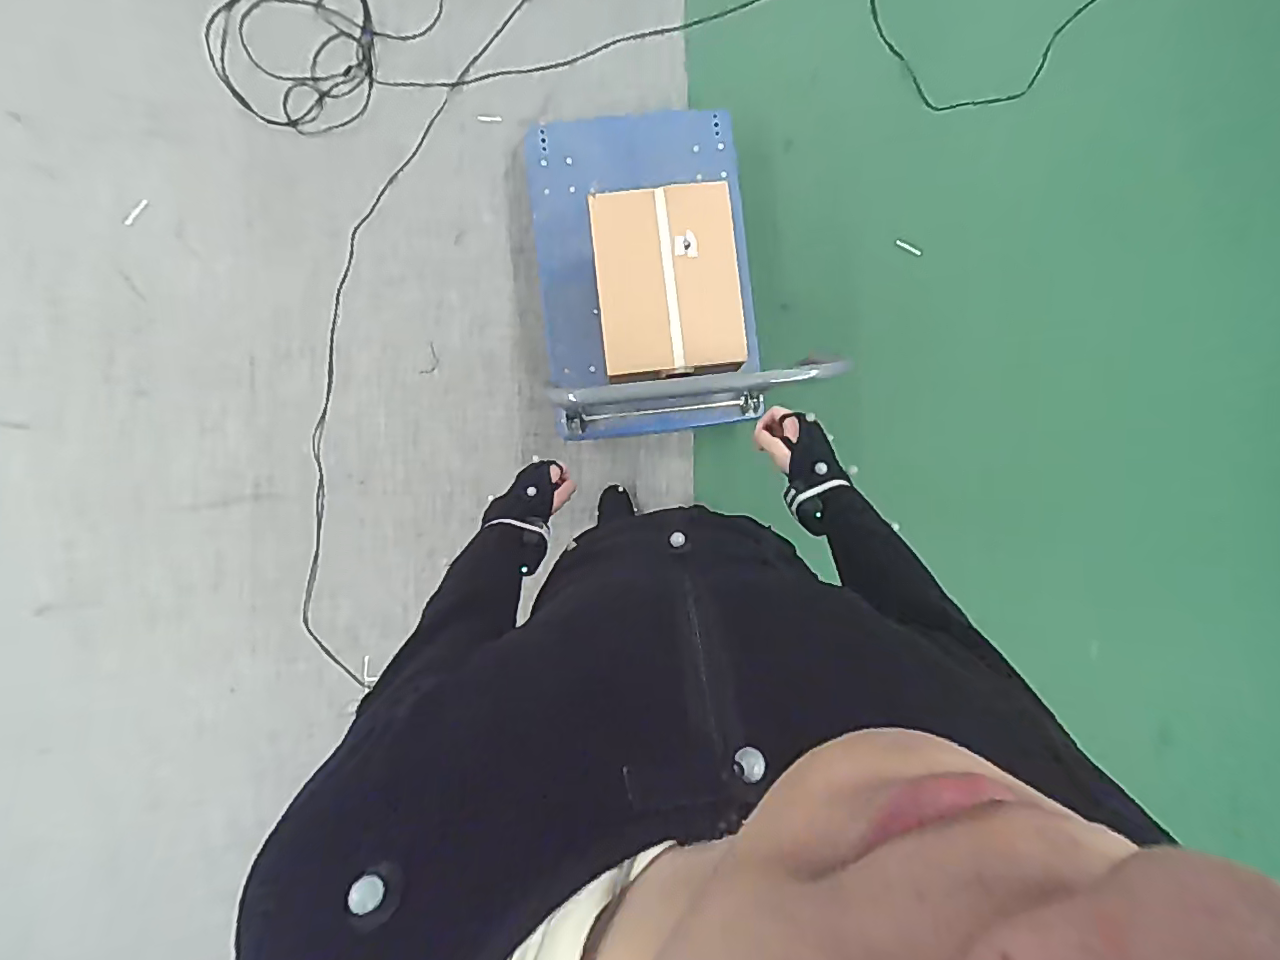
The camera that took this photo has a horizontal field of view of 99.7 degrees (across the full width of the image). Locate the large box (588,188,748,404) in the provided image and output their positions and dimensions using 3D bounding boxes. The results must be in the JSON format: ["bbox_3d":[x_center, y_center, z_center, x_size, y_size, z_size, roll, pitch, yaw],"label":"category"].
[{"bbox_3d":[0.058,-0.426,1.334,0.320,0.320,0.408,-7,88,-2],"label":"large box"}]
